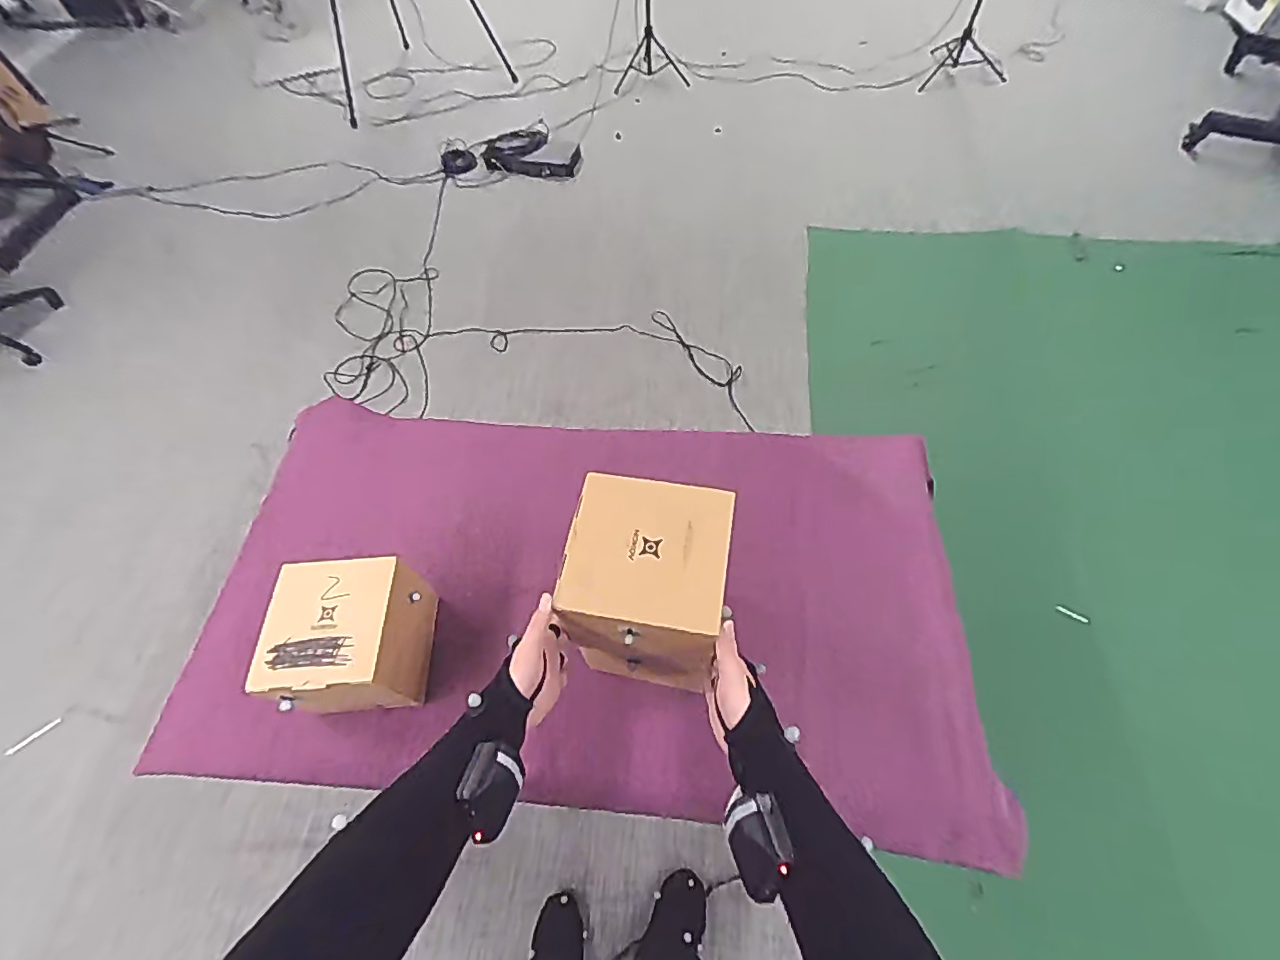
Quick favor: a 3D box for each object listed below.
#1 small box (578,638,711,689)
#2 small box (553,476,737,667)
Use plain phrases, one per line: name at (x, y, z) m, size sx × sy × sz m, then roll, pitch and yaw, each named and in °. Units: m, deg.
small box at (0.024, 0.195, 0.792) m, size 0.179 × 0.176 × 0.168 m, roll 9°, pitch 61°, yaw 8°
small box at (0.014, 0.116, 0.650) m, size 0.179 × 0.176 × 0.168 m, roll 8°, pitch 61°, yaw 8°
